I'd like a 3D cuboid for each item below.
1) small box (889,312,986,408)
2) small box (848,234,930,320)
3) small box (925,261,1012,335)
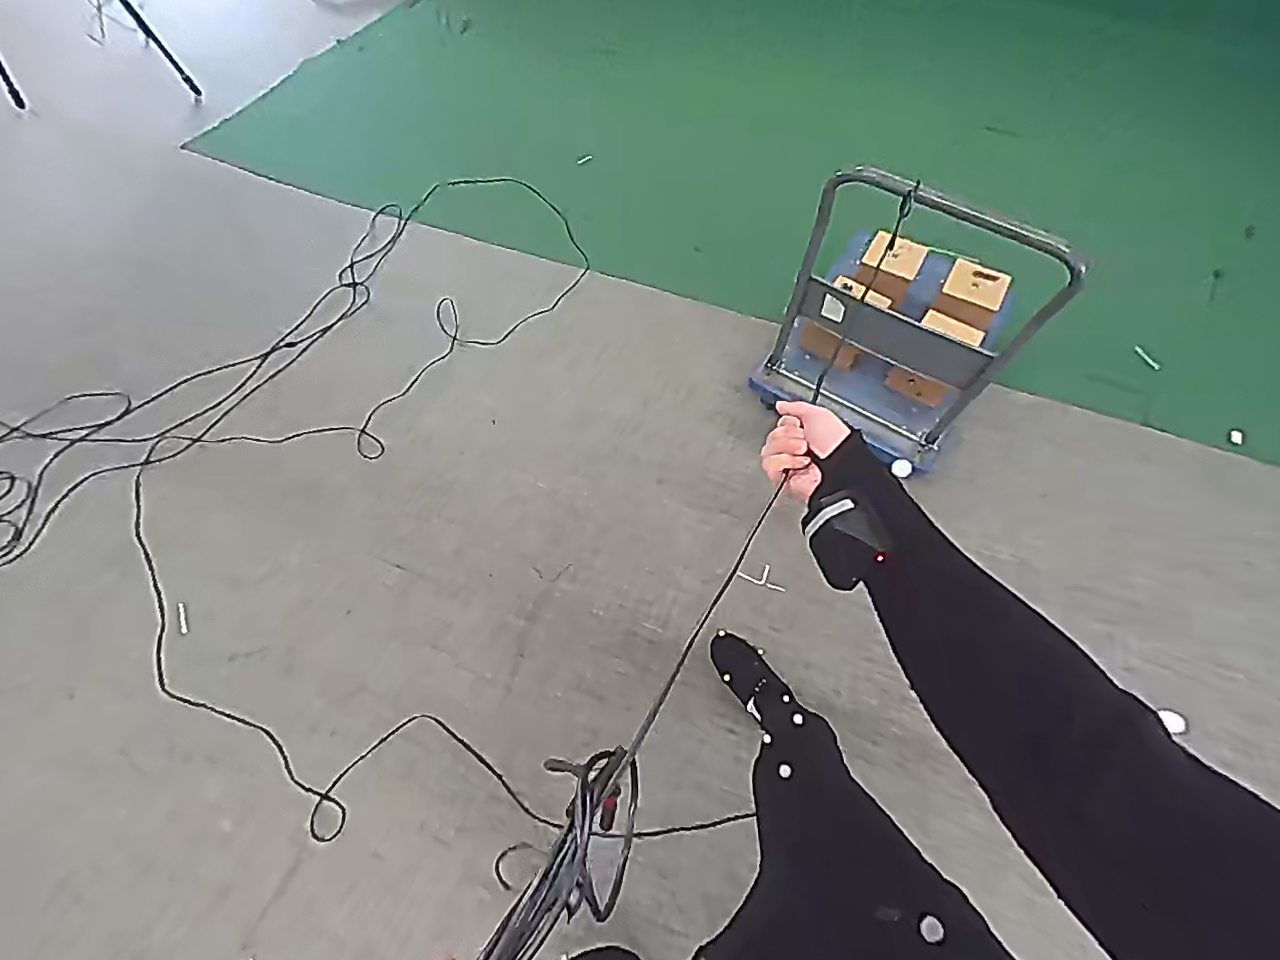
[{"bbox_3d":[0.859,-0.347,1.579,0.168,0.176,0.179,32,66,17],"label":"small box"},{"bbox_3d":[0.798,-0.653,1.751,0.168,0.176,0.179,28,64,14],"label":"small box"},{"bbox_3d":[1.014,-0.540,1.687,0.168,0.176,0.179,28,65,16],"label":"small box"}]
